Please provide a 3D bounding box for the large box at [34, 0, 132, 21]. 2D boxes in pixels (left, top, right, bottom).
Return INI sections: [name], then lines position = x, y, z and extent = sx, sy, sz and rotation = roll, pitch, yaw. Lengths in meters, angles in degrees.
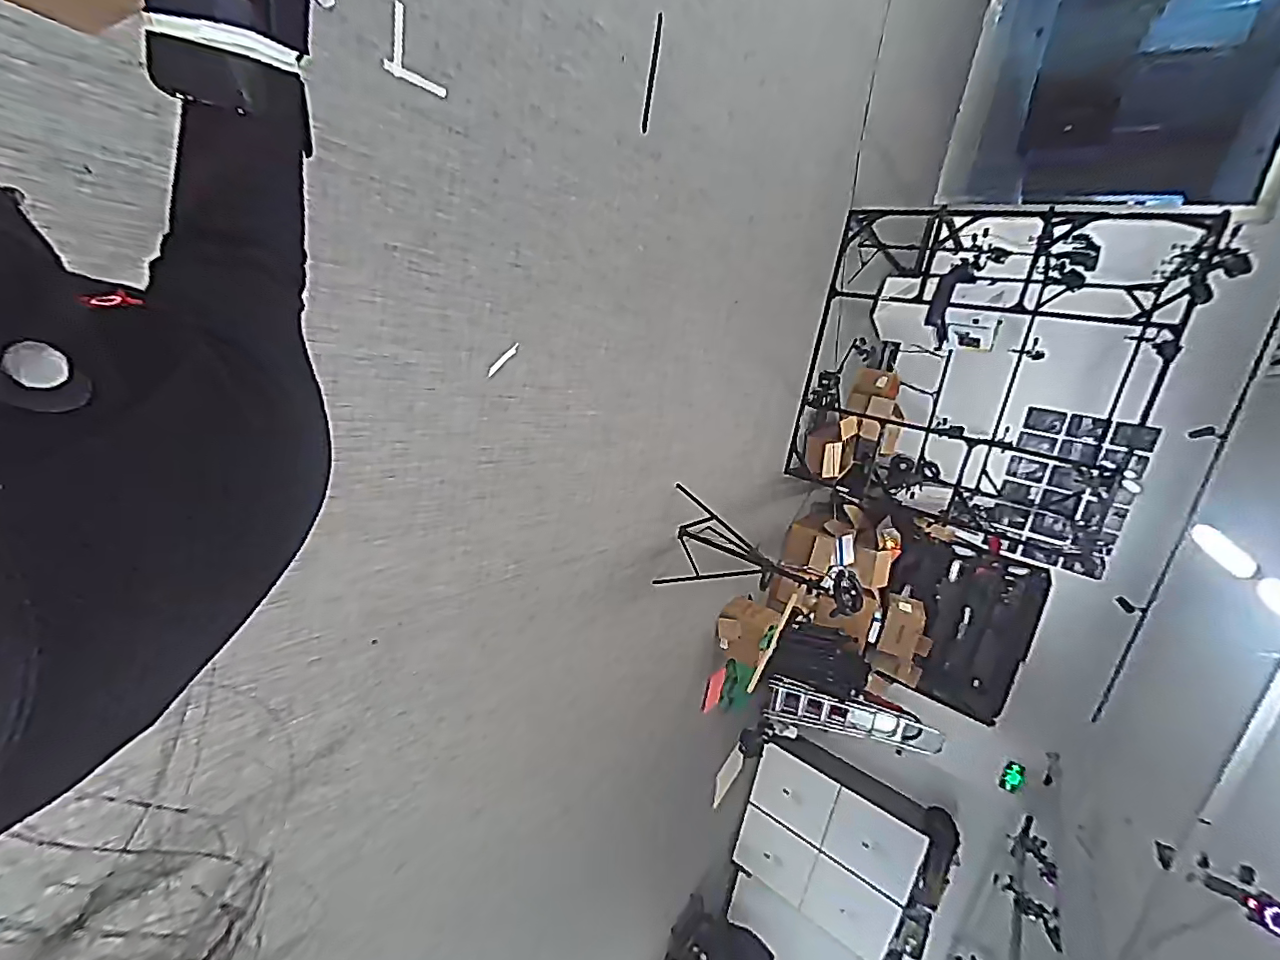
[large box]
position = -0.455, -0.484, 0.207
extent = 0.408, 0.320, 0.320
rotation = -7, 116, -54
